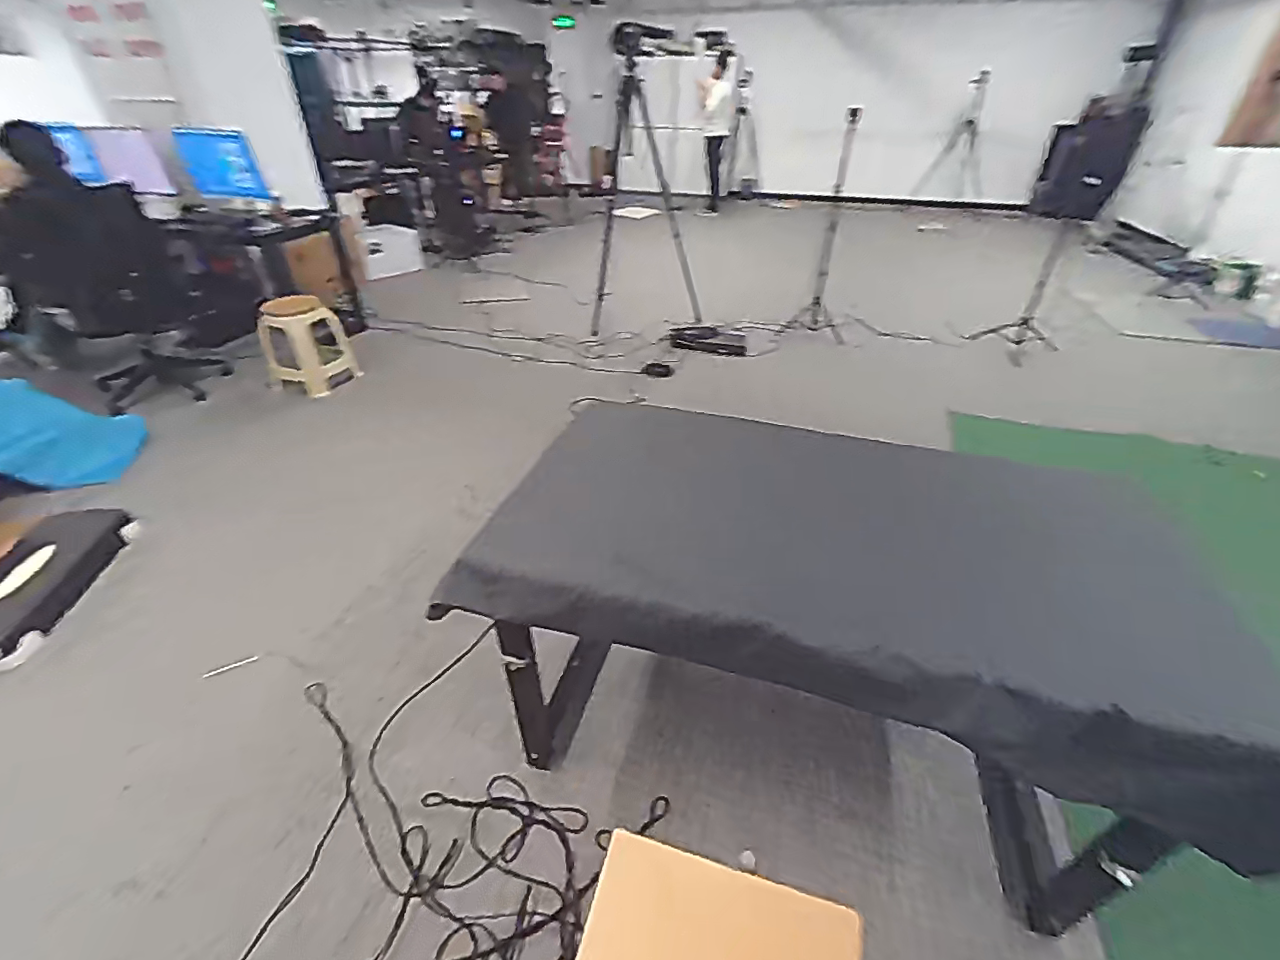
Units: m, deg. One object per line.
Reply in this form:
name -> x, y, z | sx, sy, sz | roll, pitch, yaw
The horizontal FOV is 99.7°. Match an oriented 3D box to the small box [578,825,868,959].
small box -> 0.058, 0.377, 0.377 | 0.179, 0.176, 0.168 | 4, 48, 23
